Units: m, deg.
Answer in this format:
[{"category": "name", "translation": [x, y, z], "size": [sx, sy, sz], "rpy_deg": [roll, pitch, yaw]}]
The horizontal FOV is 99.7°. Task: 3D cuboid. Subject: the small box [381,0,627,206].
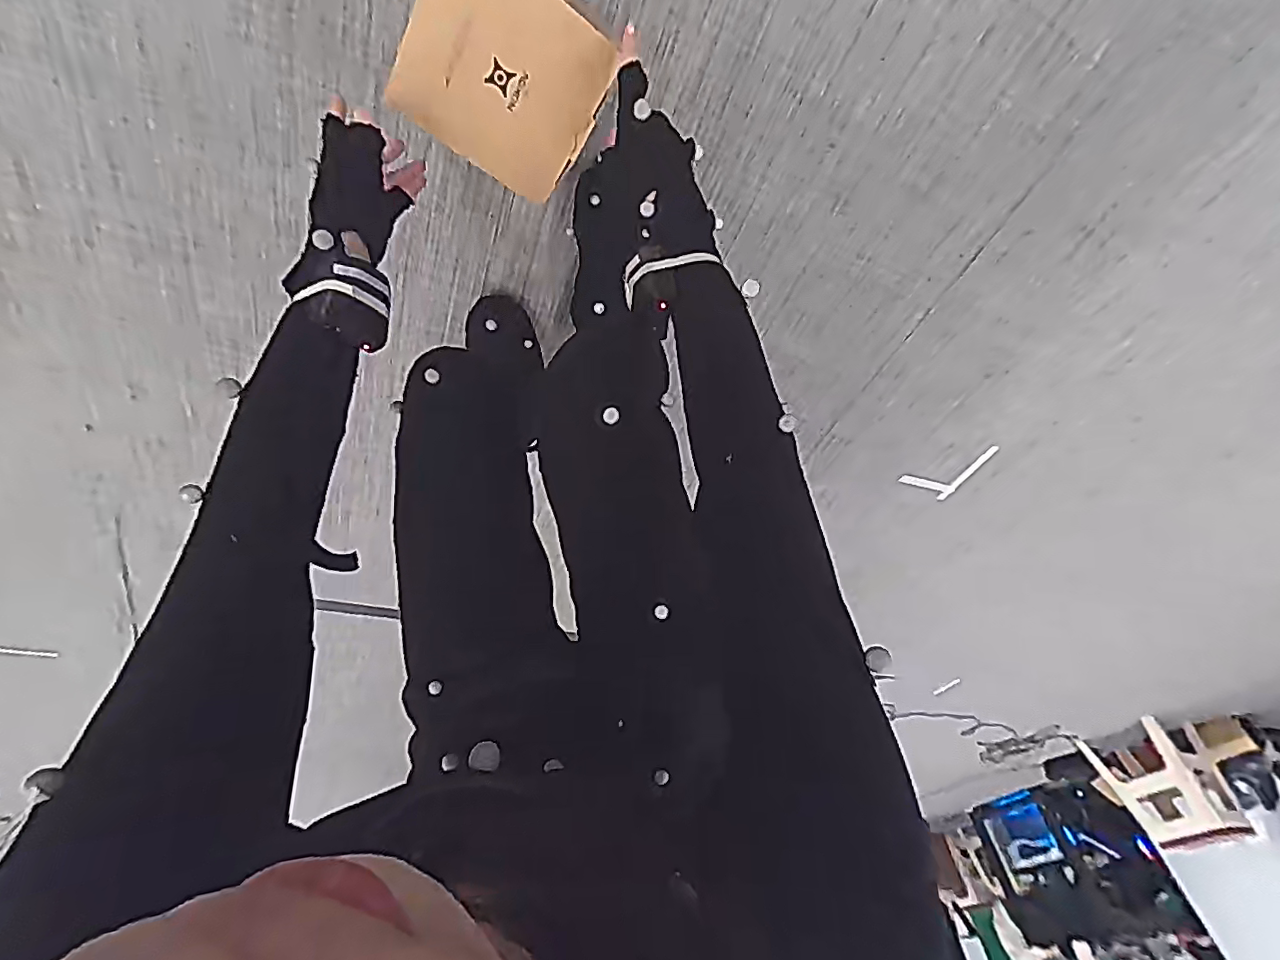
[{"category": "small box", "translation": [-0.134, -0.431, 0.559], "size": [0.179, 0.176, 0.168], "rpy_deg": [25, 126, -27]}]
